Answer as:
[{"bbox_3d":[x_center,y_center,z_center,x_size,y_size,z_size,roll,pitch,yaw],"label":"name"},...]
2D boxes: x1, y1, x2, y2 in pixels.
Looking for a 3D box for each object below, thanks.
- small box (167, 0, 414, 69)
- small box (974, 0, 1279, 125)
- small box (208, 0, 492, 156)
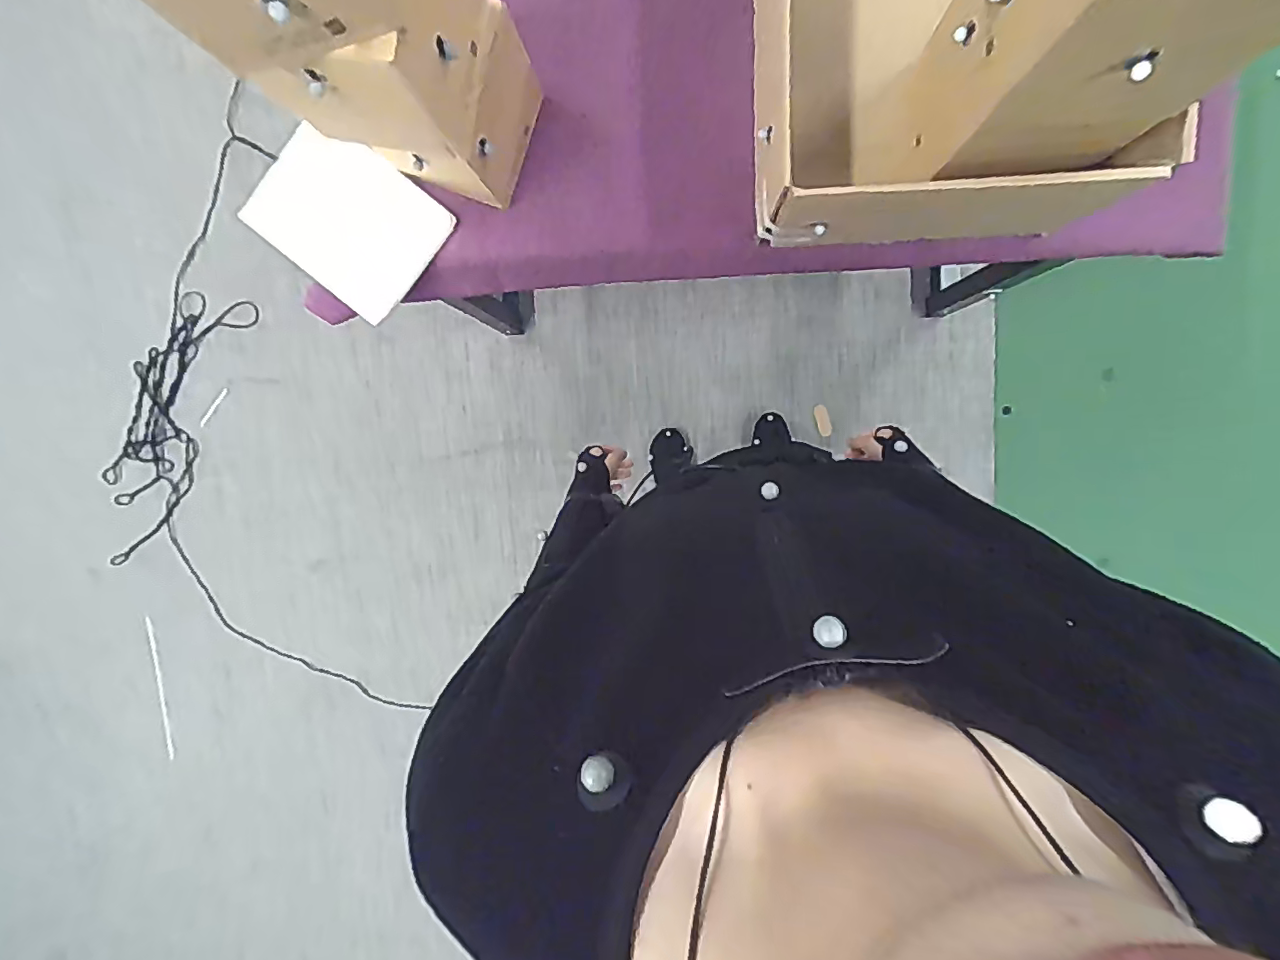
[{"bbox_3d":[-0.281,-0.434,0.361,0.168,0.176,0.179,-11,94,7],"label":"small box"},{"bbox_3d":[0.397,-0.408,0.420,0.179,0.176,0.168,1,95,7],"label":"small box"},{"bbox_3d":[-0.261,-0.446,0.524,0.179,0.176,0.168,12,96,4],"label":"small box"}]
